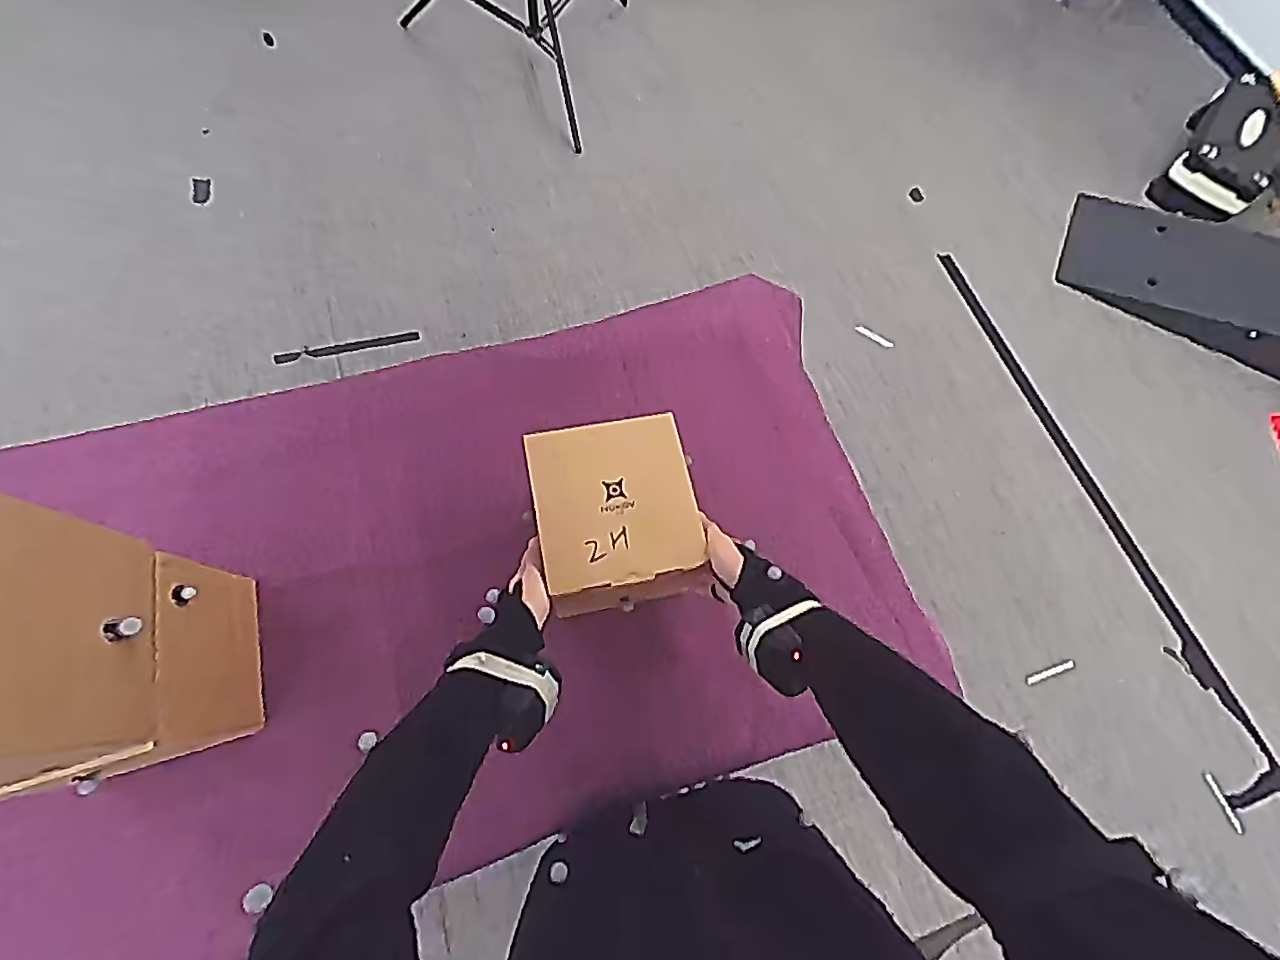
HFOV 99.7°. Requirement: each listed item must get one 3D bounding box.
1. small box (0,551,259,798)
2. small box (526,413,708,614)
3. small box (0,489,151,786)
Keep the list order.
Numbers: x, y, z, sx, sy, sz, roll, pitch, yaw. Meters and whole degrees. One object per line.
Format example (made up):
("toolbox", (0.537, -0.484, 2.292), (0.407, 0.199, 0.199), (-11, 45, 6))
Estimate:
("small box", (-0.507, 0.188, 0.530), (0.168, 0.176, 0.179), (-14, 71, -11))
("small box", (-0.034, 0.046, 0.630), (0.168, 0.176, 0.179), (-10, 70, -9))
("small box", (-0.494, 0.125, 0.380), (0.168, 0.176, 0.179), (-15, 71, -11))
